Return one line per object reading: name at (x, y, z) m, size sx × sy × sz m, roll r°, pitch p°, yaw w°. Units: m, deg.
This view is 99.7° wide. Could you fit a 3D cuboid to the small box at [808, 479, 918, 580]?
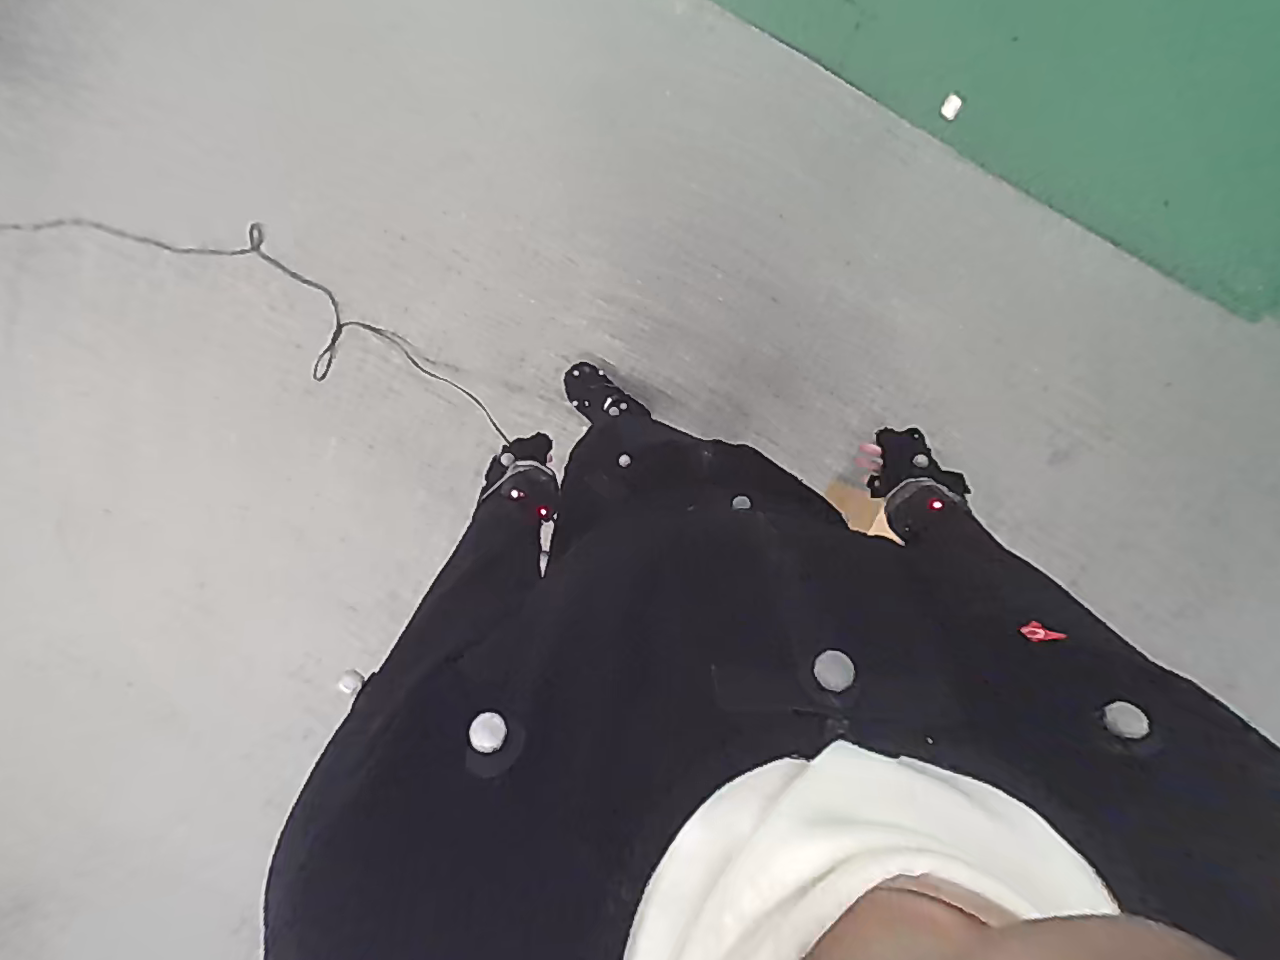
small box at (0.542, 0.116, 1.347) m, size 0.168 × 0.176 × 0.179 m, roll 28°, pitch 98°, yaw -3°
